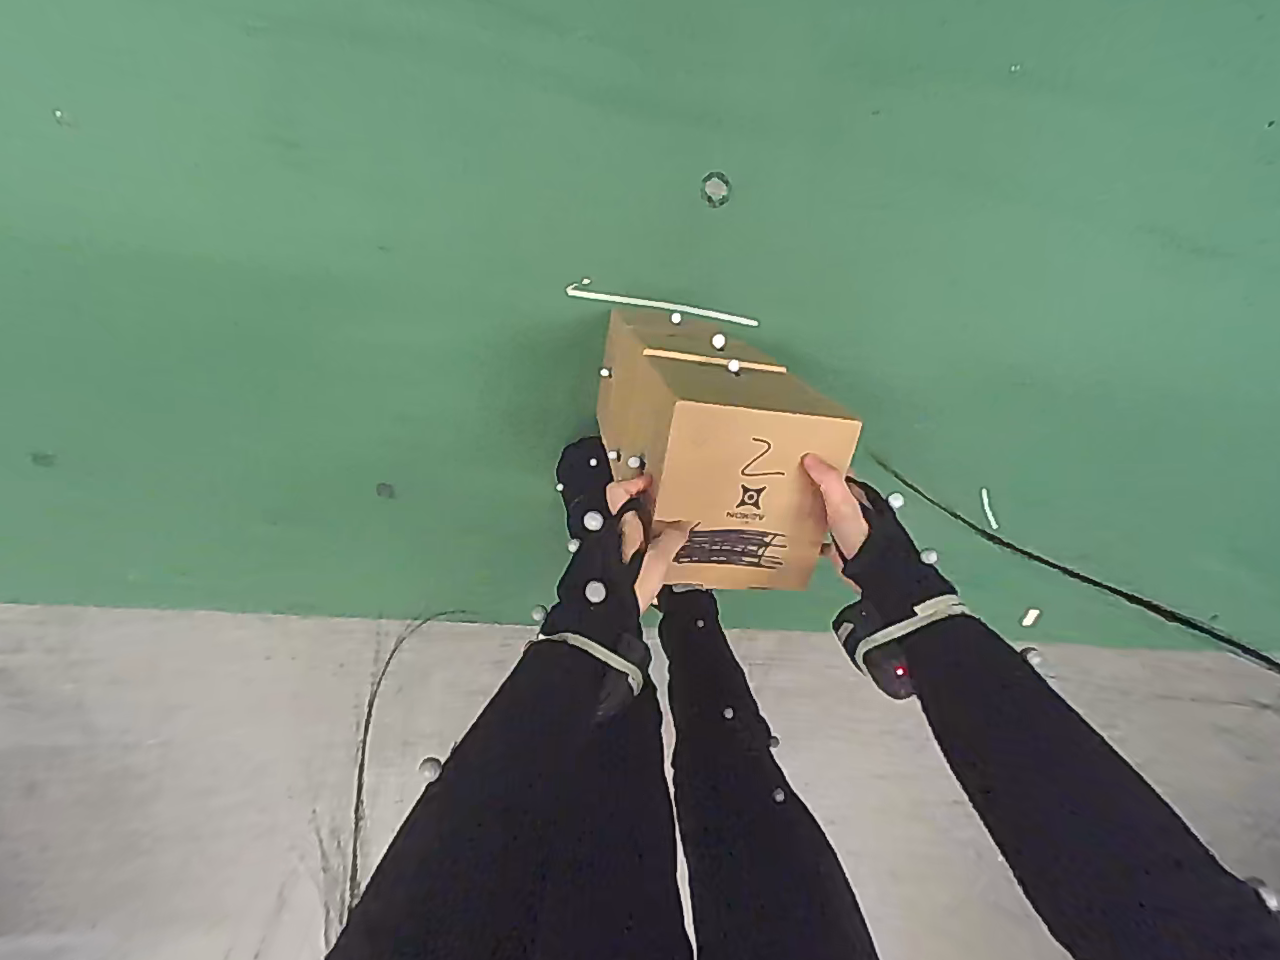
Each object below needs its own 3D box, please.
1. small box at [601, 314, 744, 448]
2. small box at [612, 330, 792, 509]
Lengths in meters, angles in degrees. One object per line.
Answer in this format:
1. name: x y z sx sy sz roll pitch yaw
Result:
1. small box: 0.037 -0.148 0.829 0.168 0.176 0.179 8 113 -12
2. small box: 0.063 -0.083 0.682 0.168 0.176 0.179 6 113 -12
